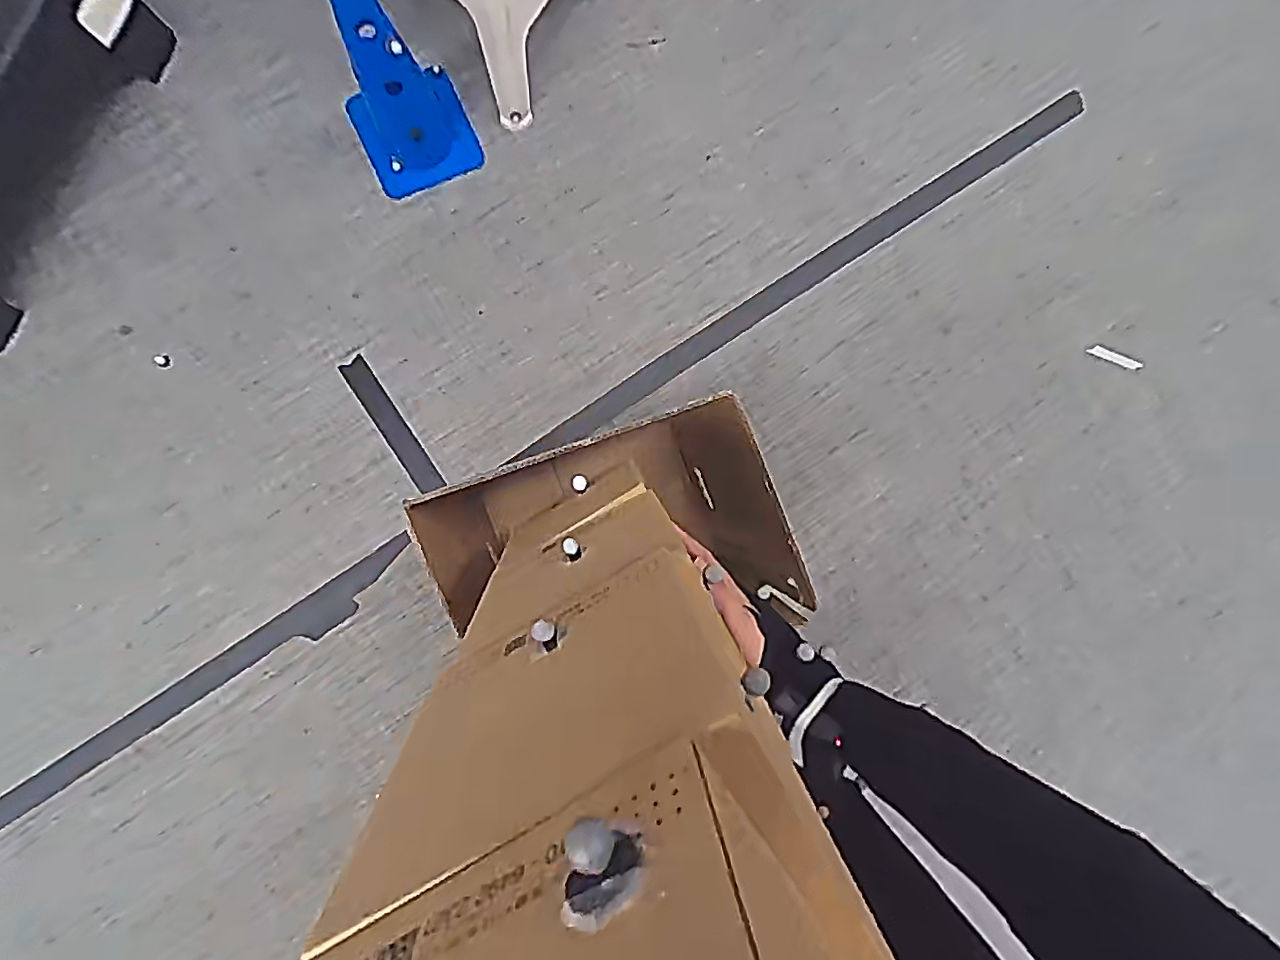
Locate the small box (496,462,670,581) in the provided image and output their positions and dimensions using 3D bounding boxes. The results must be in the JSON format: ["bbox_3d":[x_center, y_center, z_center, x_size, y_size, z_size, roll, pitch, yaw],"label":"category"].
[{"bbox_3d":[-0.028,0.101,0.589,0.168,0.176,0.179,-31,102,1],"label":"small box"}]

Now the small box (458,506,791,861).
[{"bbox_3d":[-0.014,0.134,0.429,0.168,0.176,0.179,-28,103,0],"label":"small box"}]
